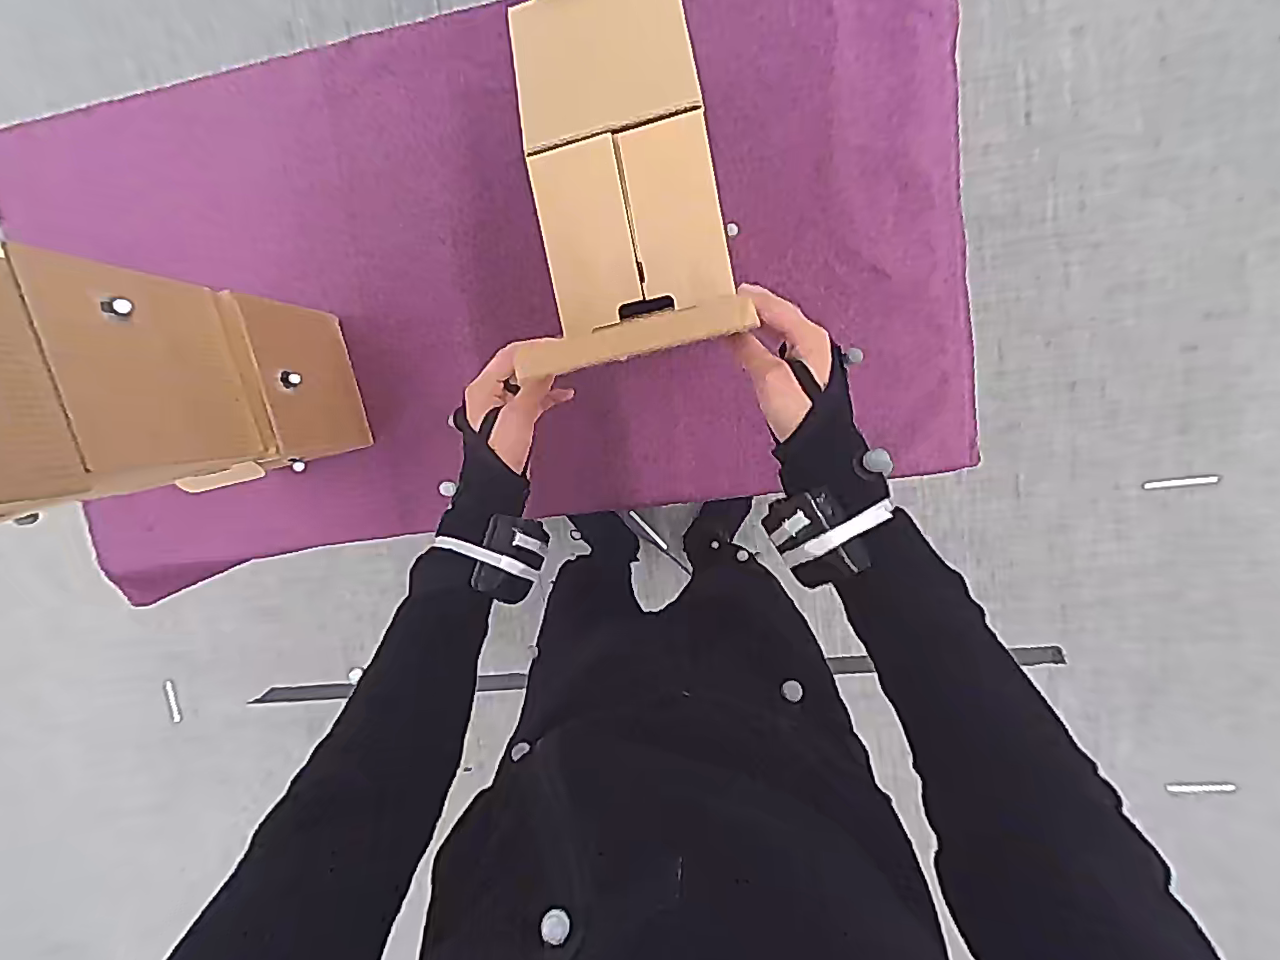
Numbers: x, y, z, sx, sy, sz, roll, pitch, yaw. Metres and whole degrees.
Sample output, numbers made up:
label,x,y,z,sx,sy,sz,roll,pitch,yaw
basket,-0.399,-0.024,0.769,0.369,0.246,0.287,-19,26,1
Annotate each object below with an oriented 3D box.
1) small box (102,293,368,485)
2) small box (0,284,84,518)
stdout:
label,x,y,z,sx,sy,sz,roll,pitch,yaw
small box,-0.460,-0.105,0.646,0.168,0.176,0.179,-11,97,8
small box,-0.512,-0.046,0.324,0.168,0.176,0.179,-14,96,9
